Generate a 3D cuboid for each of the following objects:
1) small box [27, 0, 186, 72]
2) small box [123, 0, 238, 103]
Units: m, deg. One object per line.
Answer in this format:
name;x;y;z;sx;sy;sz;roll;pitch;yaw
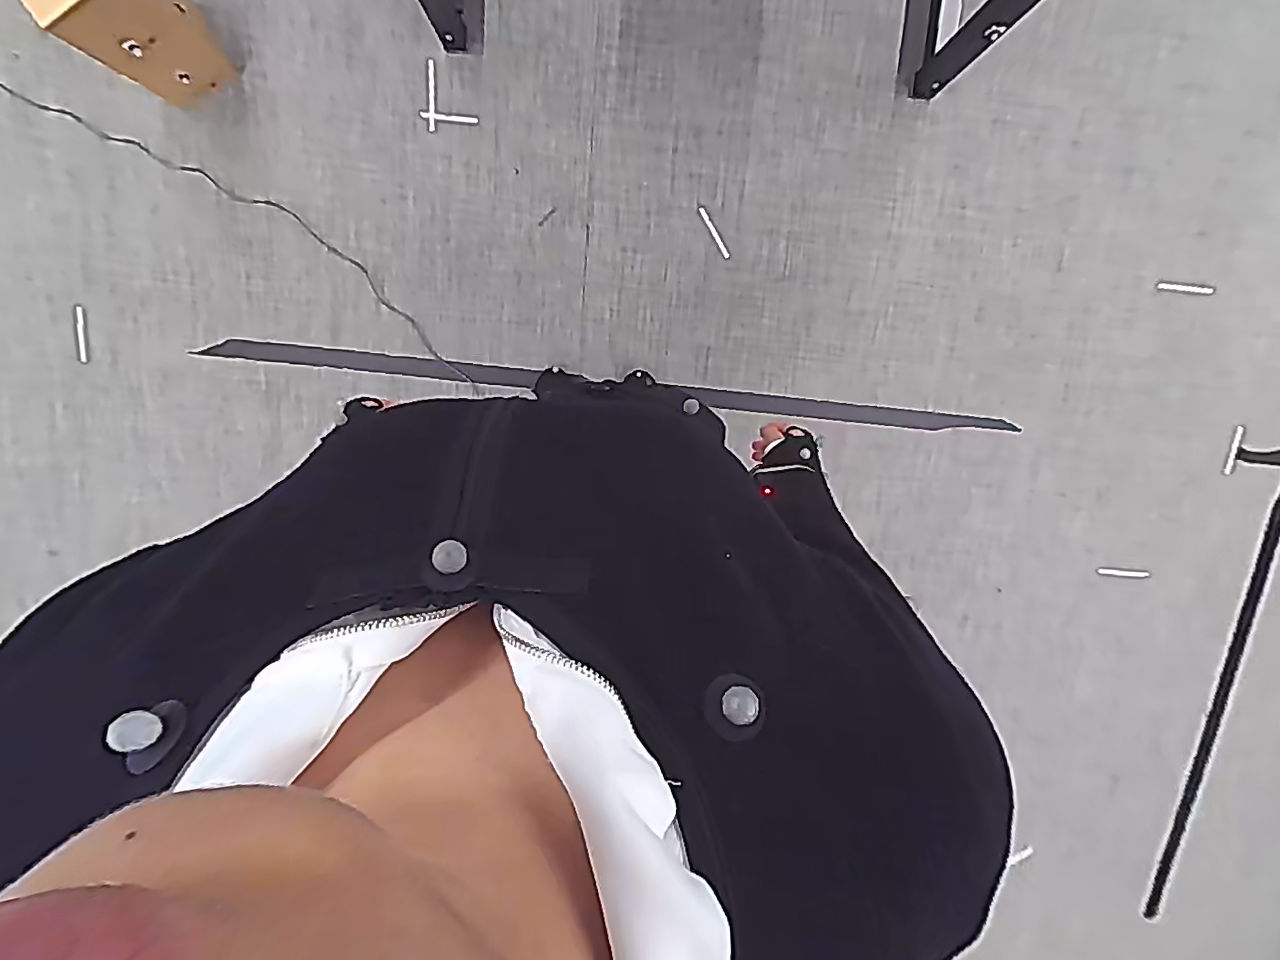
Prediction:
small box;-1.043;-0.942;1.031;0.168;0.176;0.179;-31;102;5
small box;-1.047;-0.976;1.191;0.168;0.176;0.179;-27;100;2
